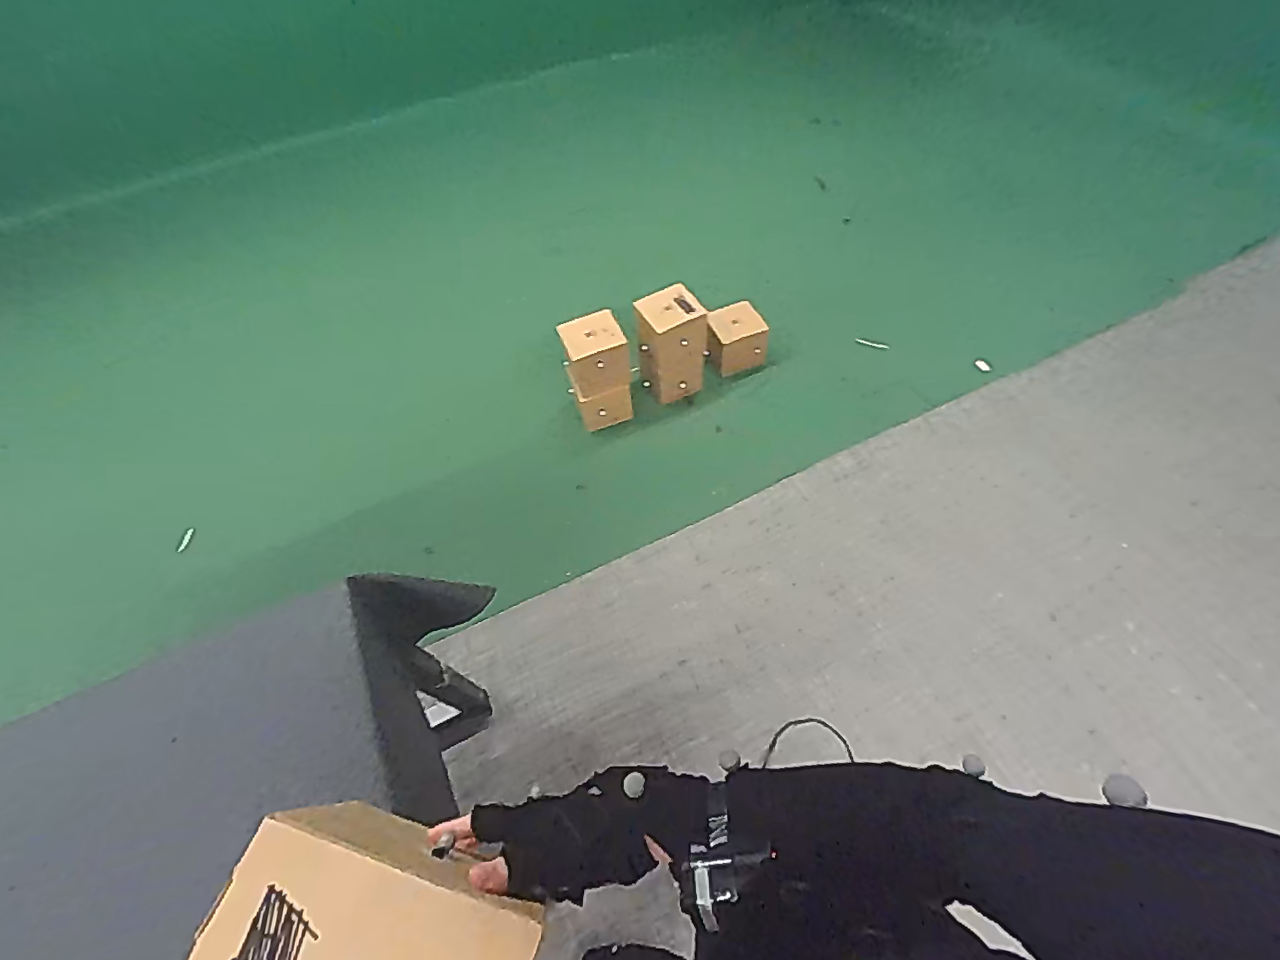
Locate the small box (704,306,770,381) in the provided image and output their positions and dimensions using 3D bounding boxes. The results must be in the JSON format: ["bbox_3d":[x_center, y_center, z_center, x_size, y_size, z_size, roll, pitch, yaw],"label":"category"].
[{"bbox_3d":[0.338,-0.484,1.927,0.179,0.176,0.168,-20,57,-9],"label":"small box"}]

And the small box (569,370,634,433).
[{"bbox_3d":[-0.127,-0.282,1.832,0.168,0.176,0.179,-19,57,-8],"label":"small box"}]

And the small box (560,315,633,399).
[{"bbox_3d":[-0.134,-0.382,1.701,0.179,0.176,0.168,-20,58,-8],"label":"small box"}]

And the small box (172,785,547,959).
[{"bbox_3d":[-0.172,0.316,0.345,0.179,0.176,0.168,21,61,2],"label":"small box"}]
